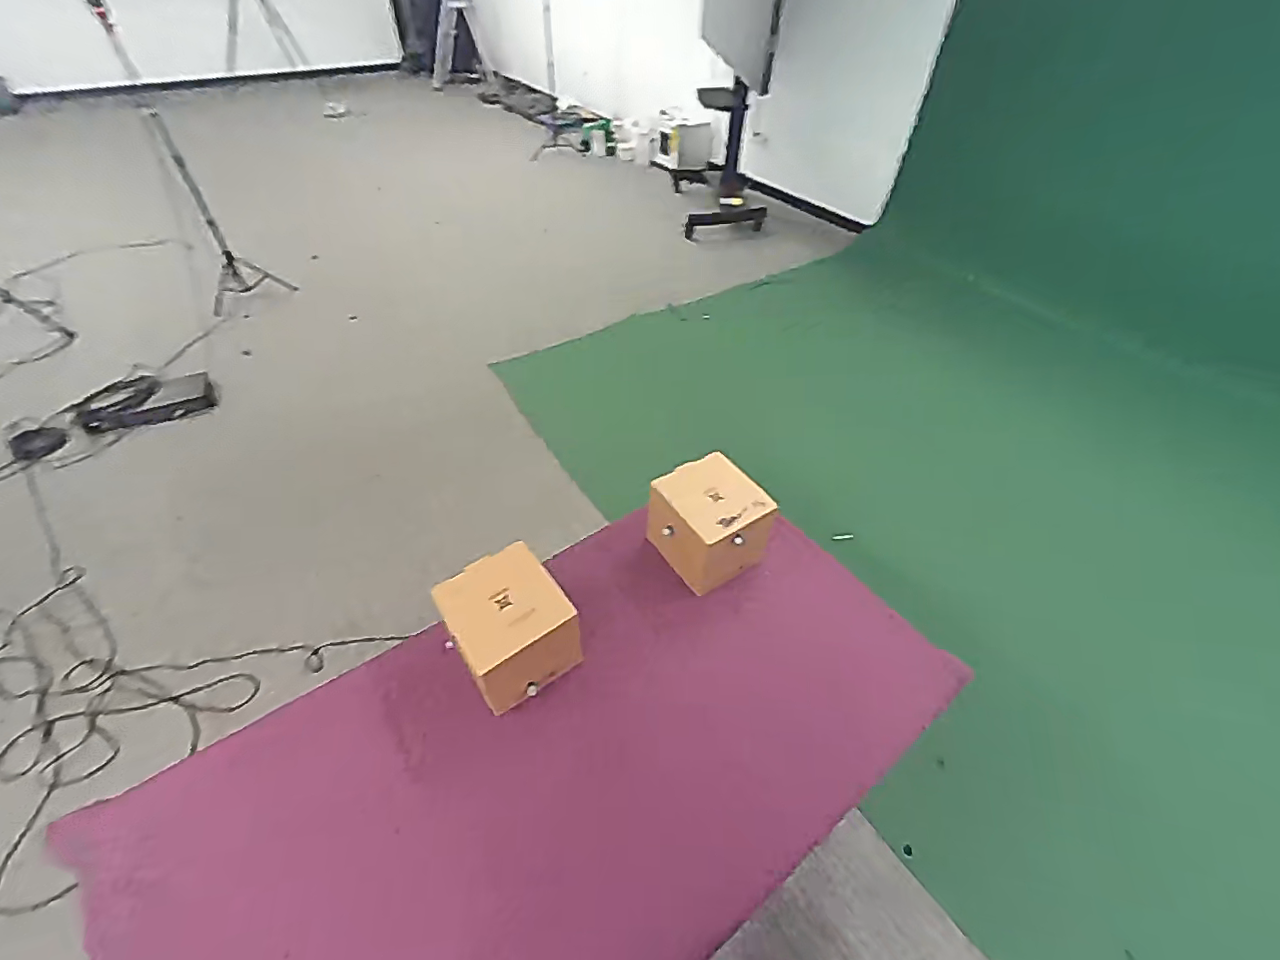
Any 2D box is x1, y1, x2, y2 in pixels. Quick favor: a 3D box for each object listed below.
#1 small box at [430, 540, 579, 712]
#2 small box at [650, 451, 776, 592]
[{"bbox_3d":[-0.214,0.237,0.880,0.168,0.176,0.179,-28,54,-25],"label":"small box"},{"bbox_3d":[0.130,0.081,1.044,0.168,0.176,0.179,-25,52,-23],"label":"small box"}]
